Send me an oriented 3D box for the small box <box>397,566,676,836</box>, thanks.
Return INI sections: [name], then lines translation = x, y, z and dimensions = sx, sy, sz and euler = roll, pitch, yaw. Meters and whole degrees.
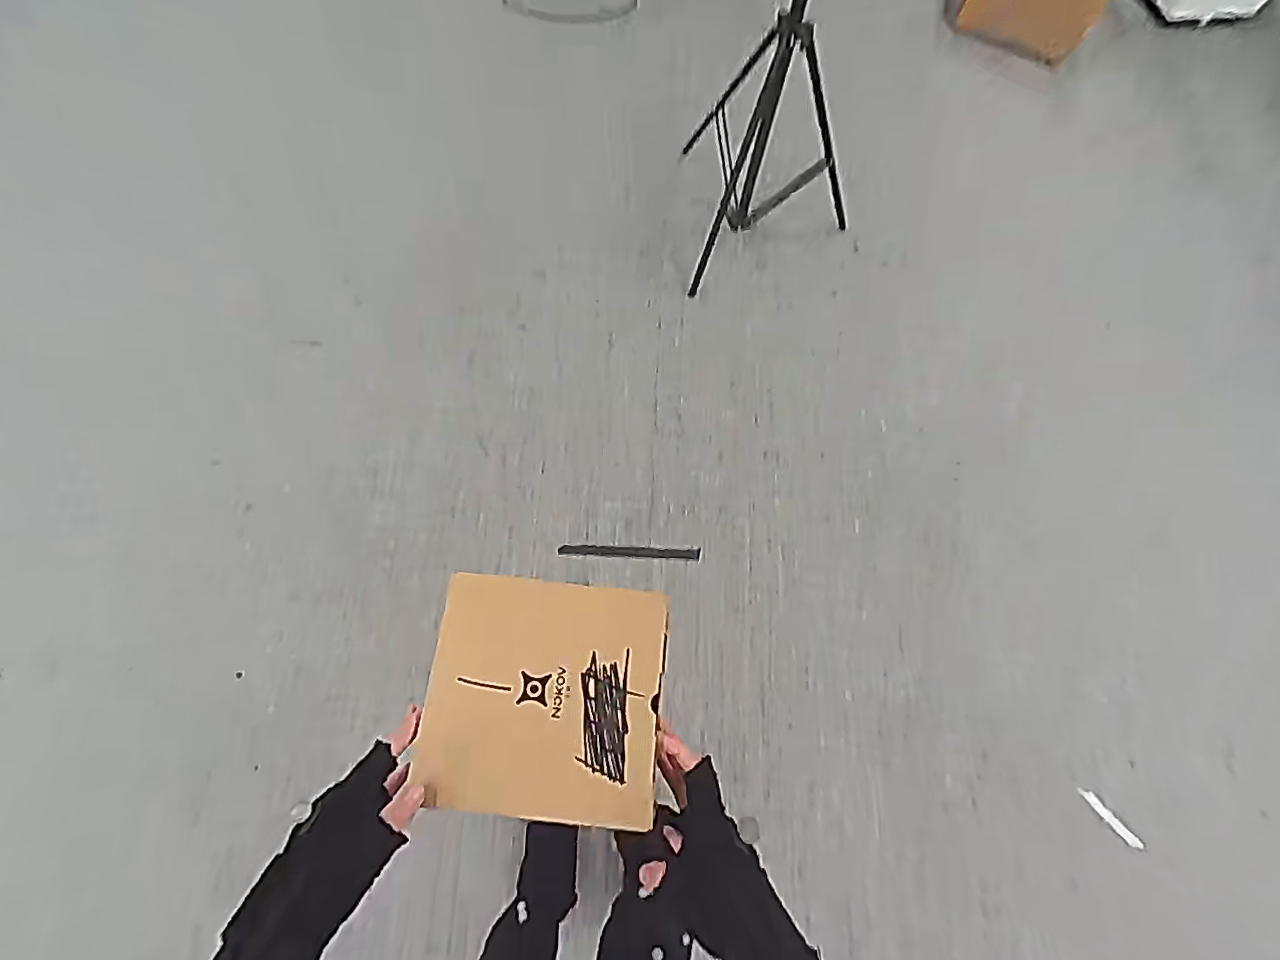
[small box]
translation = -0.071, 0.180, 0.462
dimensions = 0.179, 0.176, 0.168
euler = 7, 69, 0
